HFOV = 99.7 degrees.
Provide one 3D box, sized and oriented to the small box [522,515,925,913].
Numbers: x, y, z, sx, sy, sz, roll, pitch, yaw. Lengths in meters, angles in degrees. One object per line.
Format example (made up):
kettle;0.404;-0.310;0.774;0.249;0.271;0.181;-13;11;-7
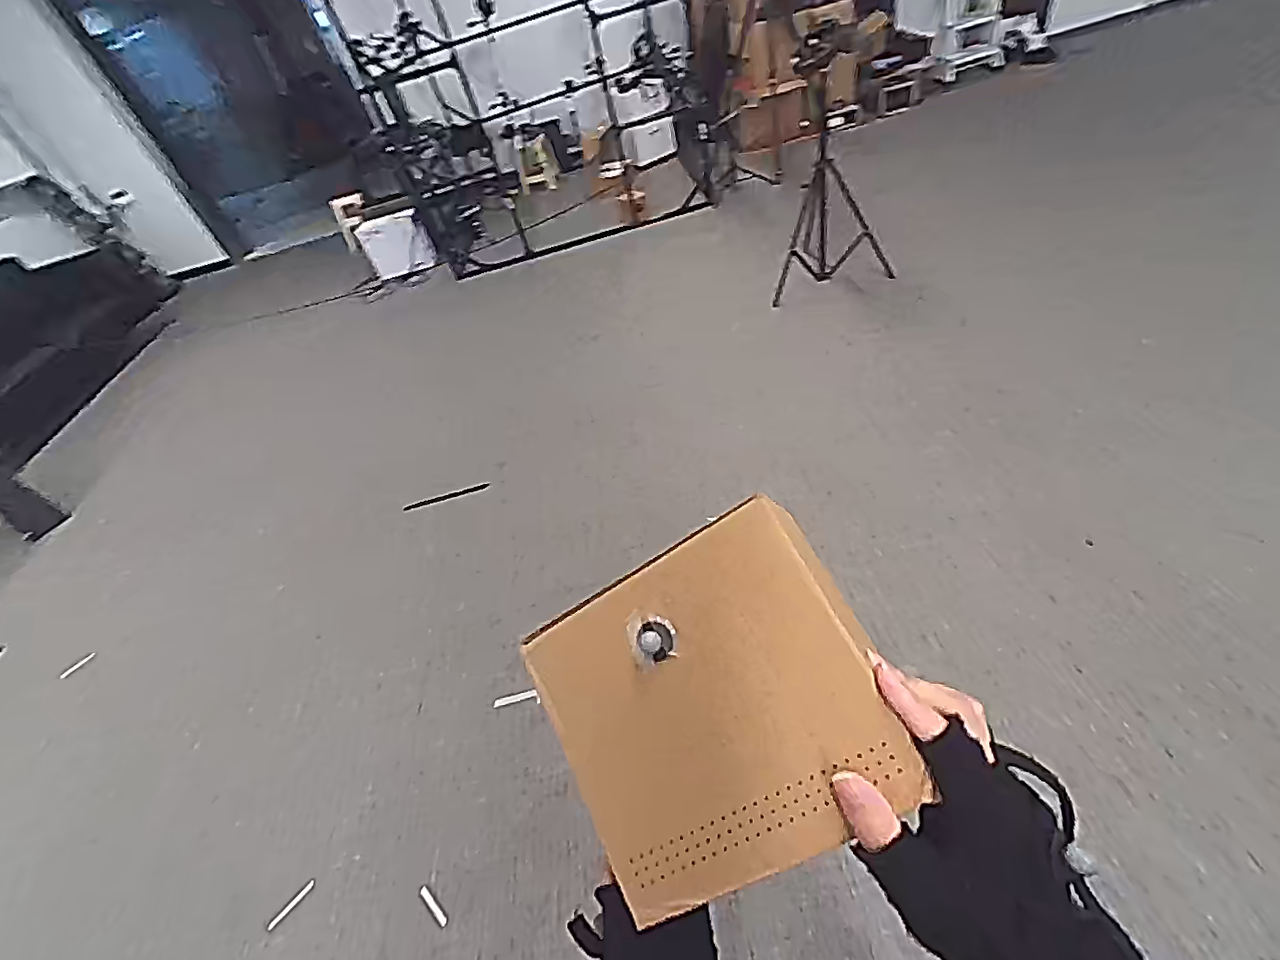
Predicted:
small box;0.059;0.145;0.374;0.179;0.168;0.176;-35;72;14
